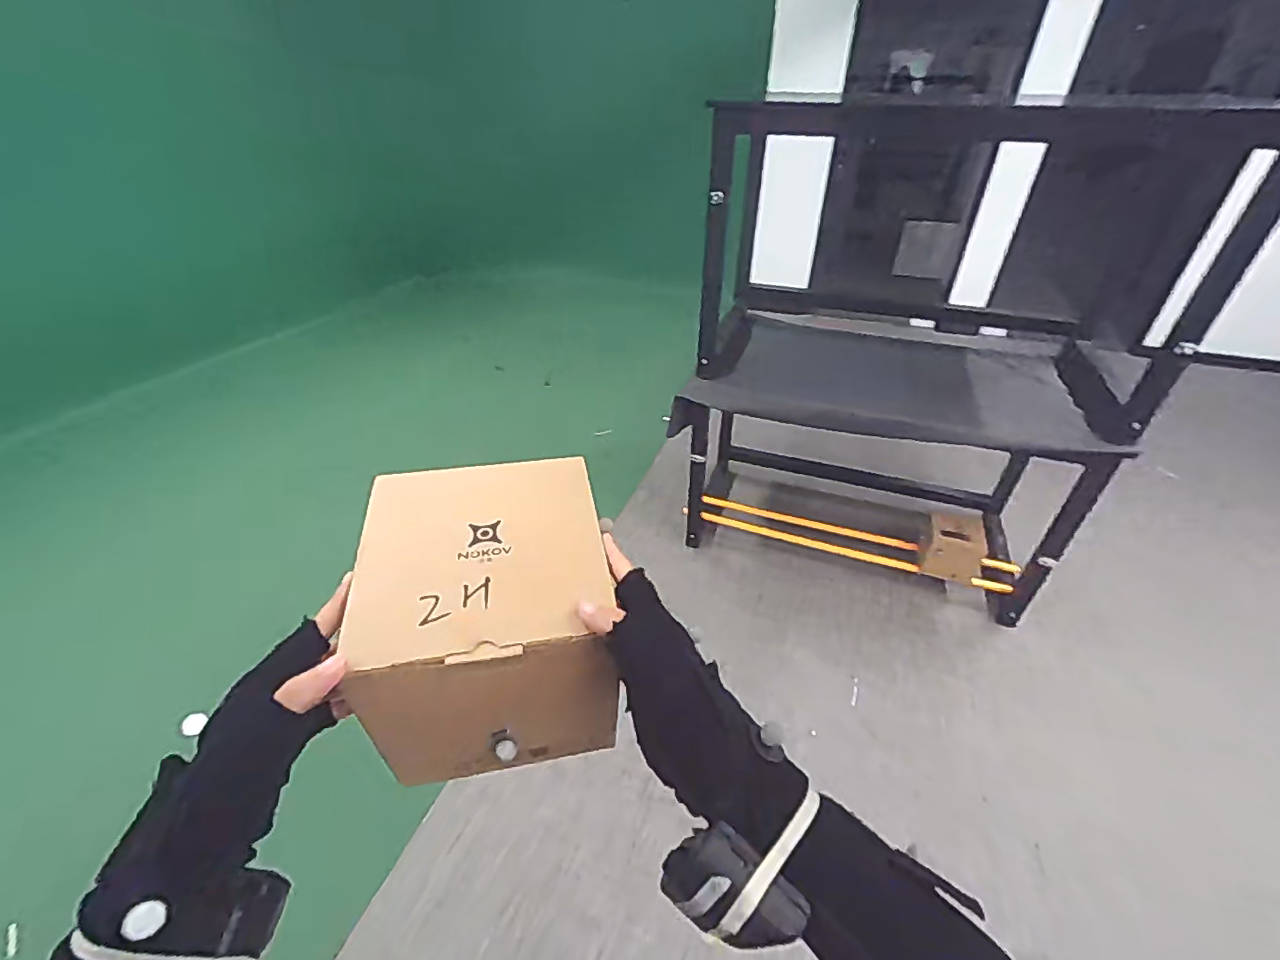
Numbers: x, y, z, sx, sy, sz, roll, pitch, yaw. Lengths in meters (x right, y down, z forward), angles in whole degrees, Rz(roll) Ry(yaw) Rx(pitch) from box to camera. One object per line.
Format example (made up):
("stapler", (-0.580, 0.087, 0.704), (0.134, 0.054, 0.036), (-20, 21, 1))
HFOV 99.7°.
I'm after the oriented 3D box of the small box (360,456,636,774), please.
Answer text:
("small box", (-0.102, 0.103, 0.437), (0.168, 0.176, 0.179), (-6, 41, -10))
